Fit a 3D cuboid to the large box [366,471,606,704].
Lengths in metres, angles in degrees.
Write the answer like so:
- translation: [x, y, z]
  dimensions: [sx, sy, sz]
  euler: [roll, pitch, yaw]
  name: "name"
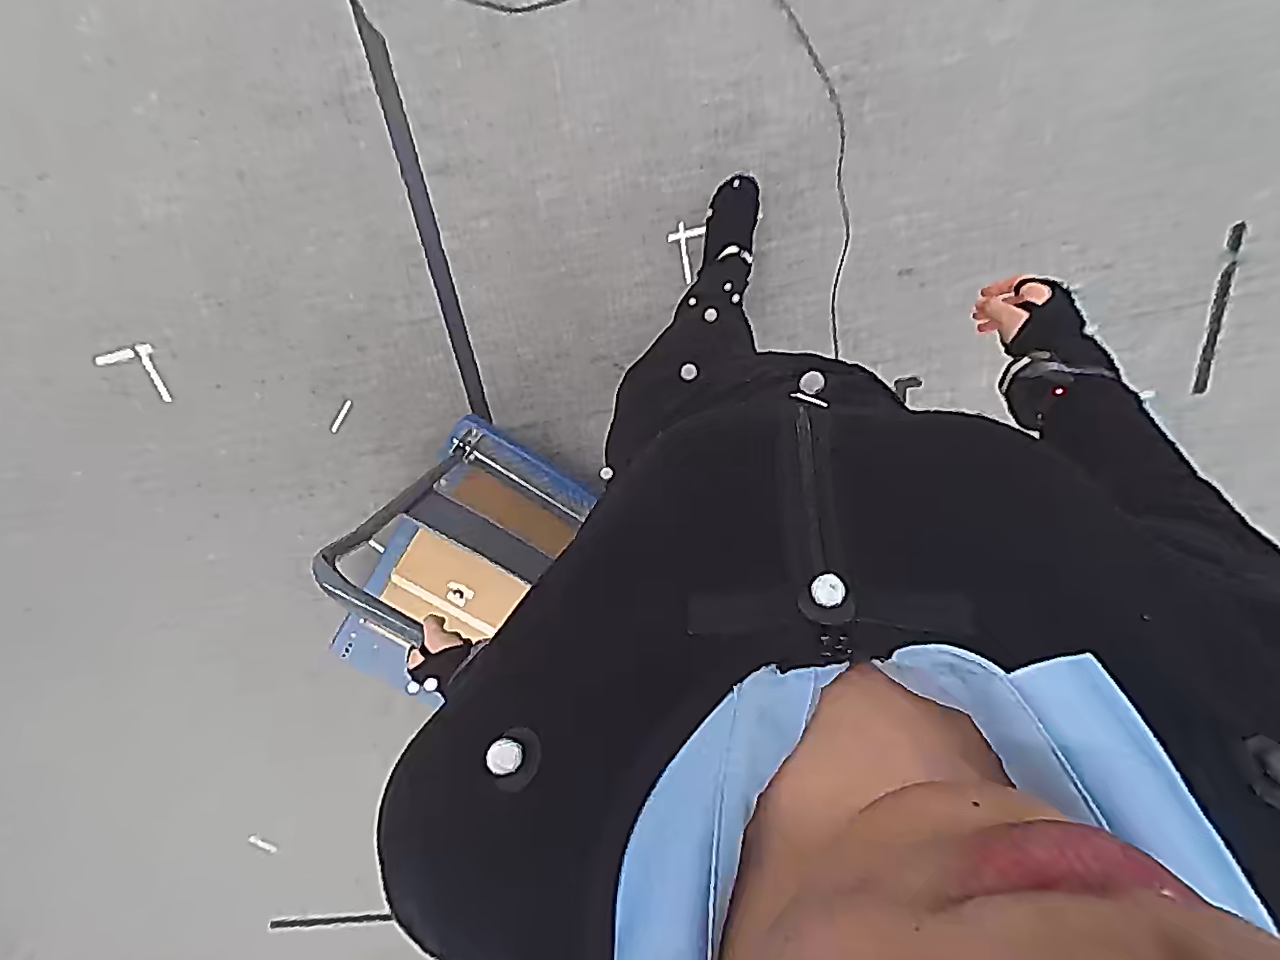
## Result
- translation: [-0.341, 0.244, 1.294]
  dimensions: [0.408, 0.320, 0.320]
  euler: [33, 109, -9]
  name: "large box"
